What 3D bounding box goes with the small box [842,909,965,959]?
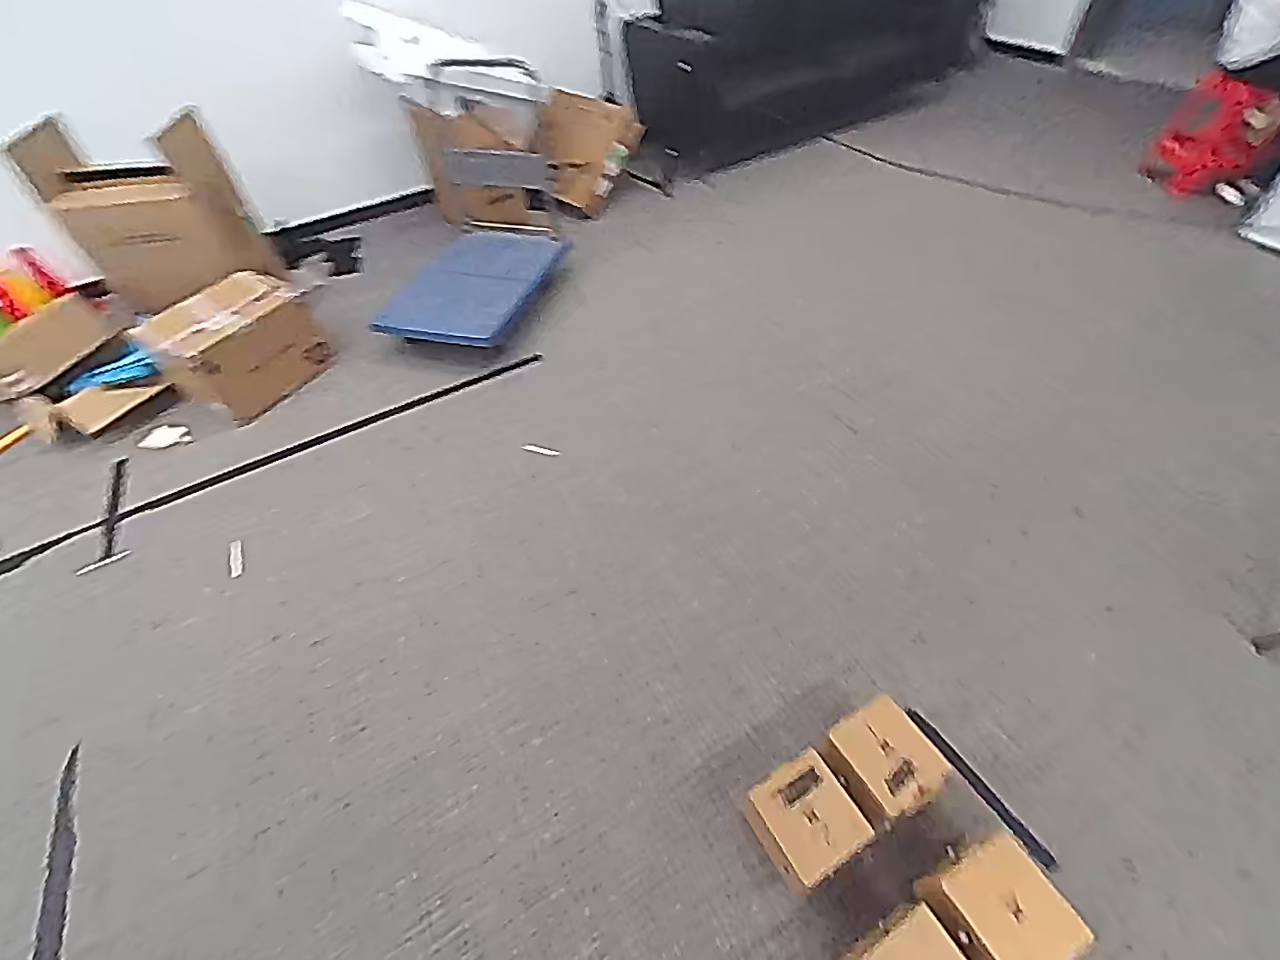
[{"bbox_3d":[0.464,0.873,0.920,0.179,0.176,0.168,-26,52,-15],"label":"small box"}]
